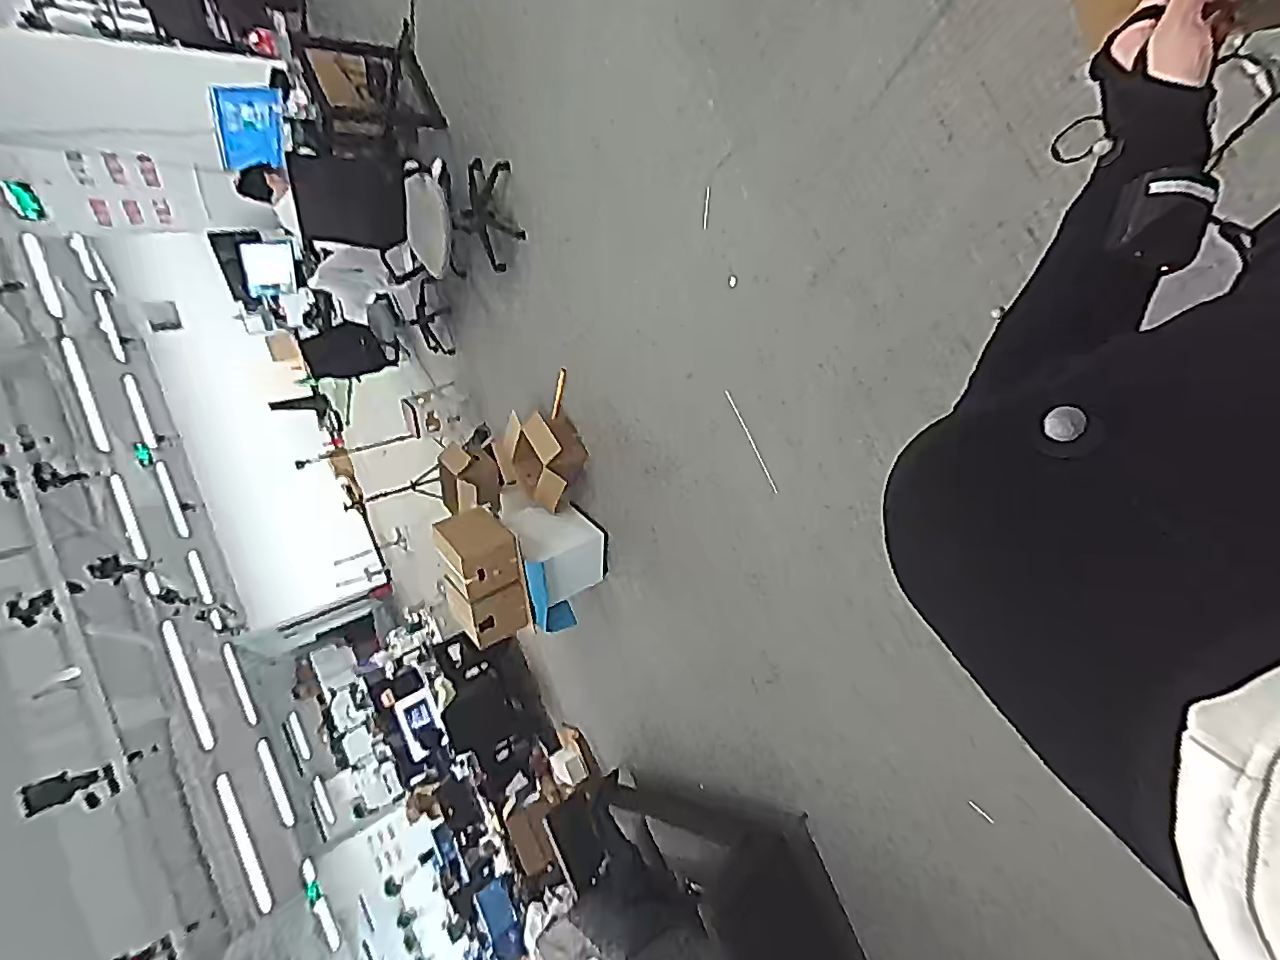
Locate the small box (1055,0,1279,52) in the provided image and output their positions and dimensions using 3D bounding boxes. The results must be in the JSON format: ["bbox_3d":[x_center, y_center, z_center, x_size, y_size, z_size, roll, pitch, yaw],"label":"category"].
[{"bbox_3d":[0.466,-0.477,0.427,0.168,0.176,0.179,23,113,40],"label":"small box"}]
